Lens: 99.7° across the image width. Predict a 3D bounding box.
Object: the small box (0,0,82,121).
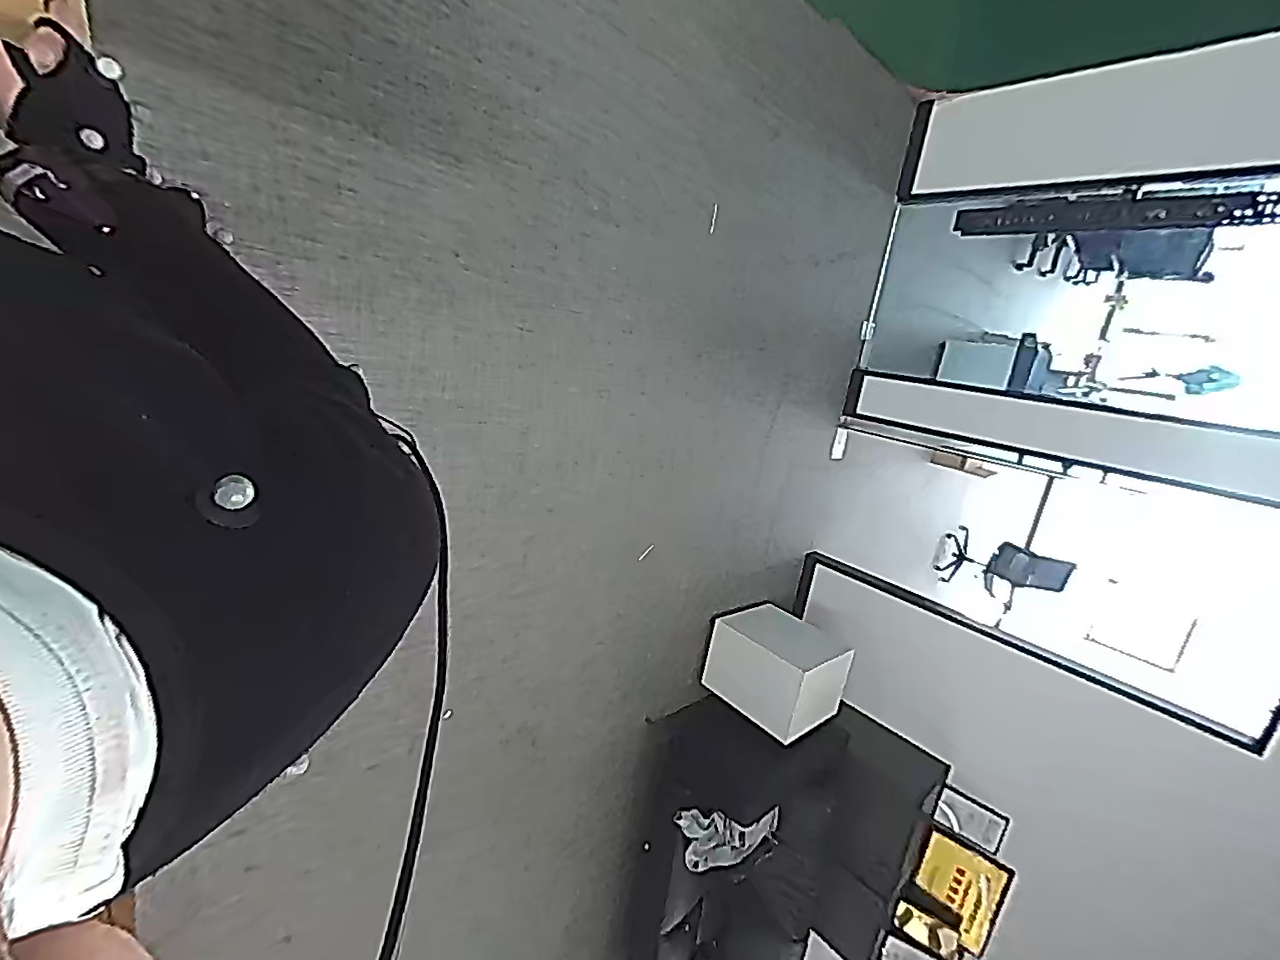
[{"bbox_3d":[-0.564,-0.412,0.412,0.179,0.176,0.168,-5,98,-37],"label":"small box"}]
